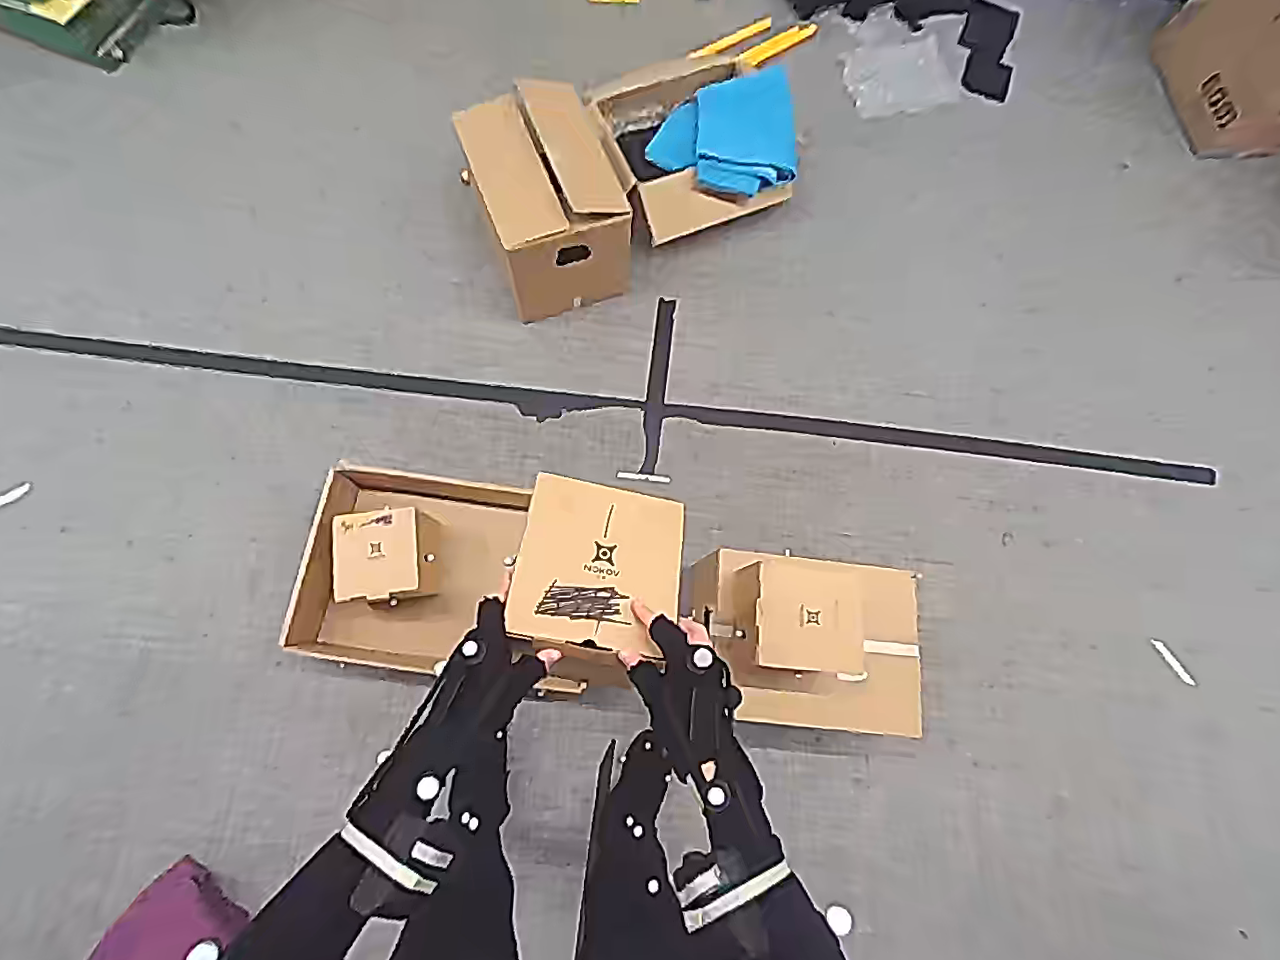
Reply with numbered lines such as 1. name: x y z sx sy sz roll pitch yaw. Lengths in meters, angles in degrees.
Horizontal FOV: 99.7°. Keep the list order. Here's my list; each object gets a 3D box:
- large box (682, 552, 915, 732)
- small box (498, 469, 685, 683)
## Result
1. large box: 0.316 0.348 1.184 0.408 0.320 0.320 7 74 -4
2. small box: -0.057 0.117 0.607 0.168 0.176 0.179 13 58 -9
